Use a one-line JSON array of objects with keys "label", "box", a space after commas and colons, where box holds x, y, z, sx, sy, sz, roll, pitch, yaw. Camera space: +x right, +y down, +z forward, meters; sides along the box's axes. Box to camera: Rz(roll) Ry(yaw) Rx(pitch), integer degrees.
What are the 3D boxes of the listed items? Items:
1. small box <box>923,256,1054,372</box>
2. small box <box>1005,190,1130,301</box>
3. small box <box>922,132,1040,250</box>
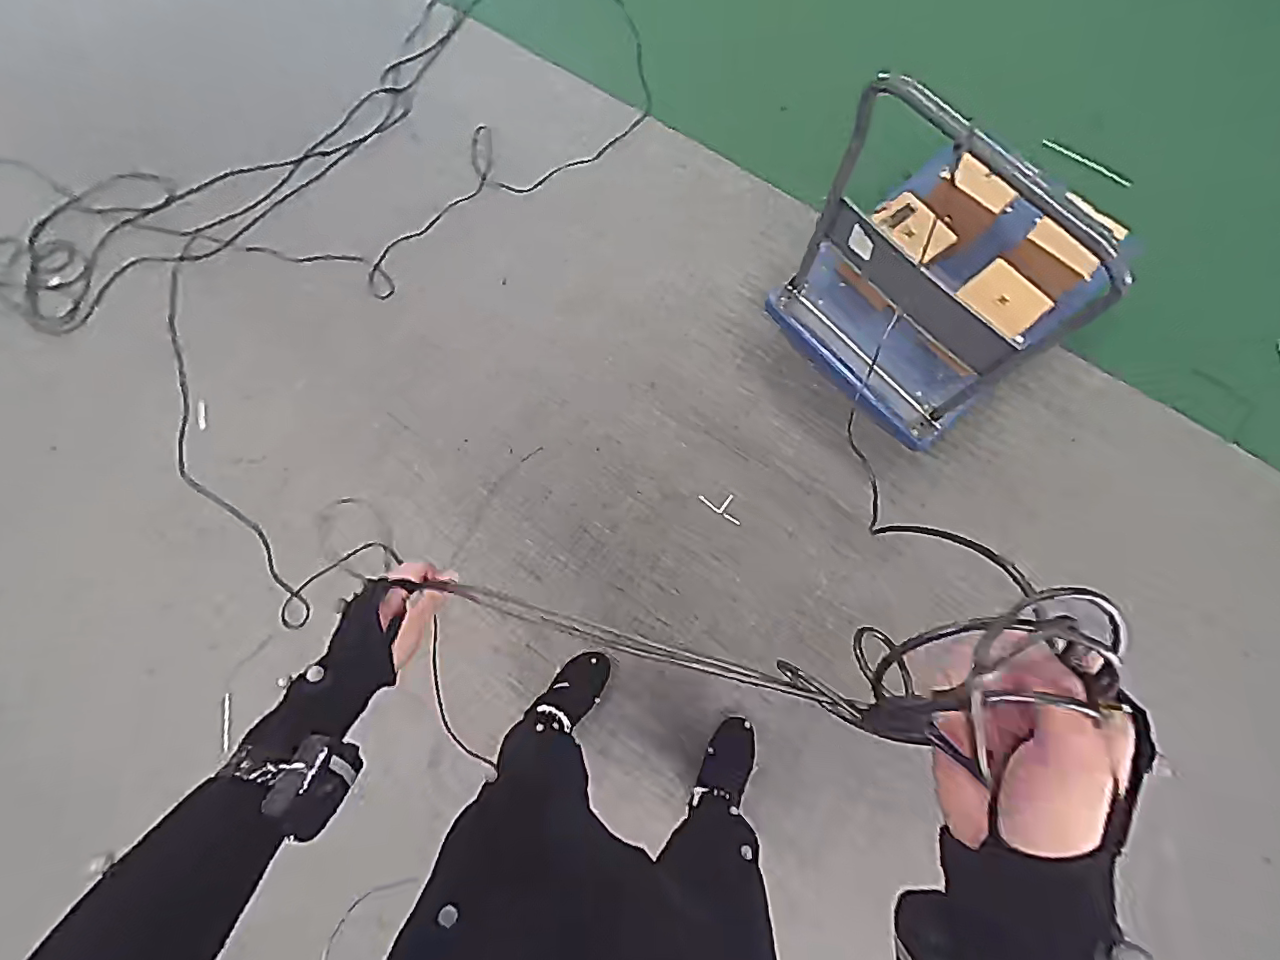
[{"label": "small box", "box": [0.844, -0.401, 1.332, 0.179, 0.176, 0.168, -39, 78, -7]}, {"label": "small box", "box": [1.051, -0.573, 1.364, 0.179, 0.176, 0.168, -44, 78, -7]}, {"label": "small box", "box": [0.876, -0.747, 1.414, 0.179, 0.176, 0.168, -43, 79, -8]}]
